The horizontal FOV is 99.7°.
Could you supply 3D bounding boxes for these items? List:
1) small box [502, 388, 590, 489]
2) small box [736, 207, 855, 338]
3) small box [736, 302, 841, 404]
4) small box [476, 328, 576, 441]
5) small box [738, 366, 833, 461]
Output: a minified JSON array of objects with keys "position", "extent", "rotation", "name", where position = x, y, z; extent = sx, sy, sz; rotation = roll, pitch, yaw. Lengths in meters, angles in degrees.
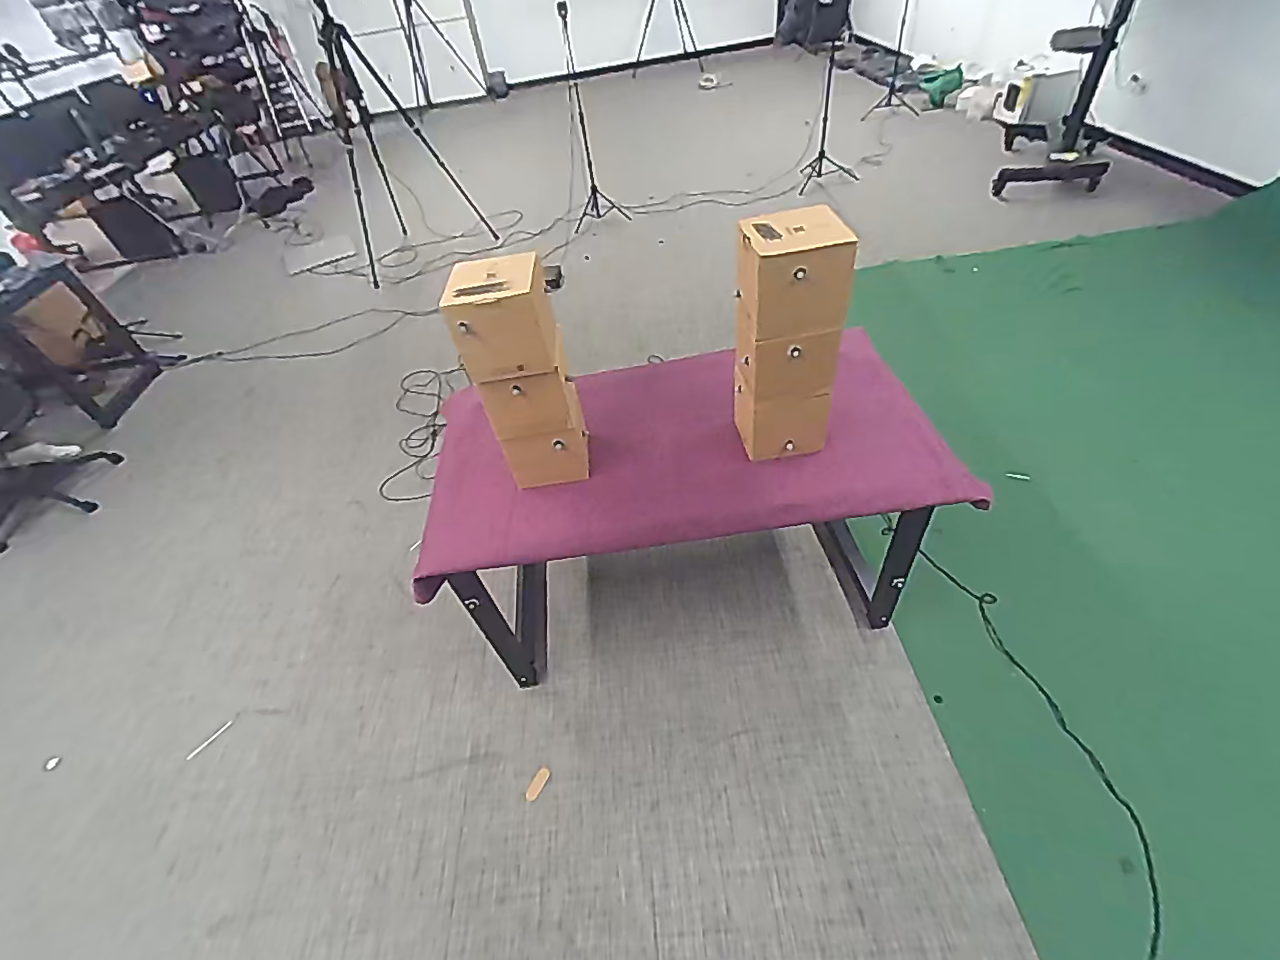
[{"position":[-0.218,-0.099,1.310],"extent":[0.179,0.176,0.168],"rotation":[-9,46,2],"name":"small box"},{"position":[0.290,-0.394,1.039],"extent":[0.179,0.176,0.168],"rotation":[-10,47,2],"name":"small box"},{"position":[0.309,-0.280,1.155],"extent":[0.179,0.176,0.168],"rotation":[-9,47,2],"name":"small box"},{"position":[-0.239,-0.207,1.192],"extent":[0.179,0.176,0.168],"rotation":[-9,47,2],"name":"small box"},{"position":[0.331,-0.167,1.271],"extent":[0.179,0.176,0.168],"rotation":[-10,46,1],"name":"small box"}]
